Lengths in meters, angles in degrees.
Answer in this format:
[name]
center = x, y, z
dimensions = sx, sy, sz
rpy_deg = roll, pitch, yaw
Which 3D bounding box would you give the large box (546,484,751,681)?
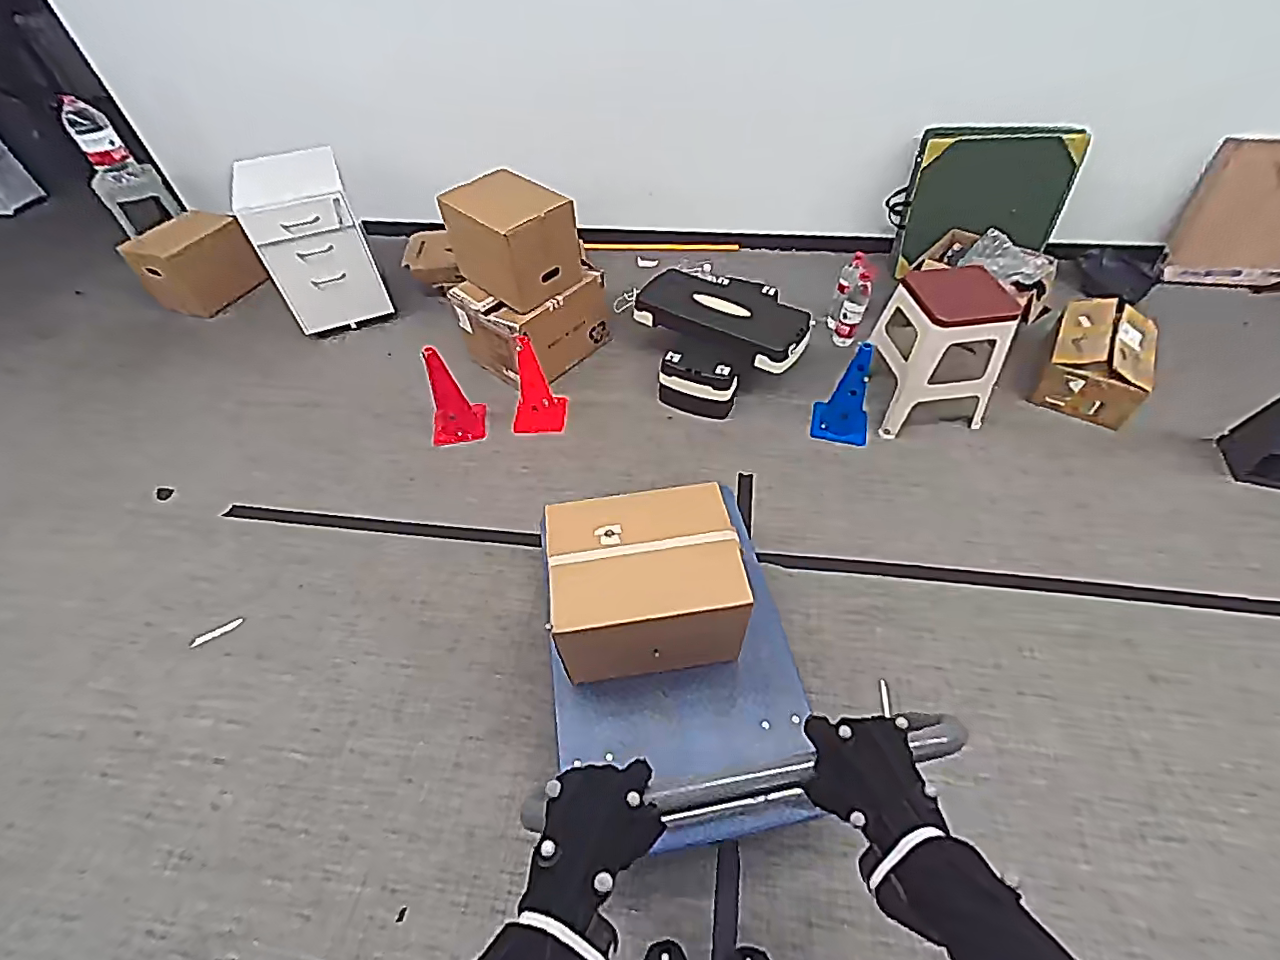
[large box]
center = 0.012, 0.247, 1.272
dimensions = 0.408, 0.320, 0.320
rpy_deg = -8, 51, -3
